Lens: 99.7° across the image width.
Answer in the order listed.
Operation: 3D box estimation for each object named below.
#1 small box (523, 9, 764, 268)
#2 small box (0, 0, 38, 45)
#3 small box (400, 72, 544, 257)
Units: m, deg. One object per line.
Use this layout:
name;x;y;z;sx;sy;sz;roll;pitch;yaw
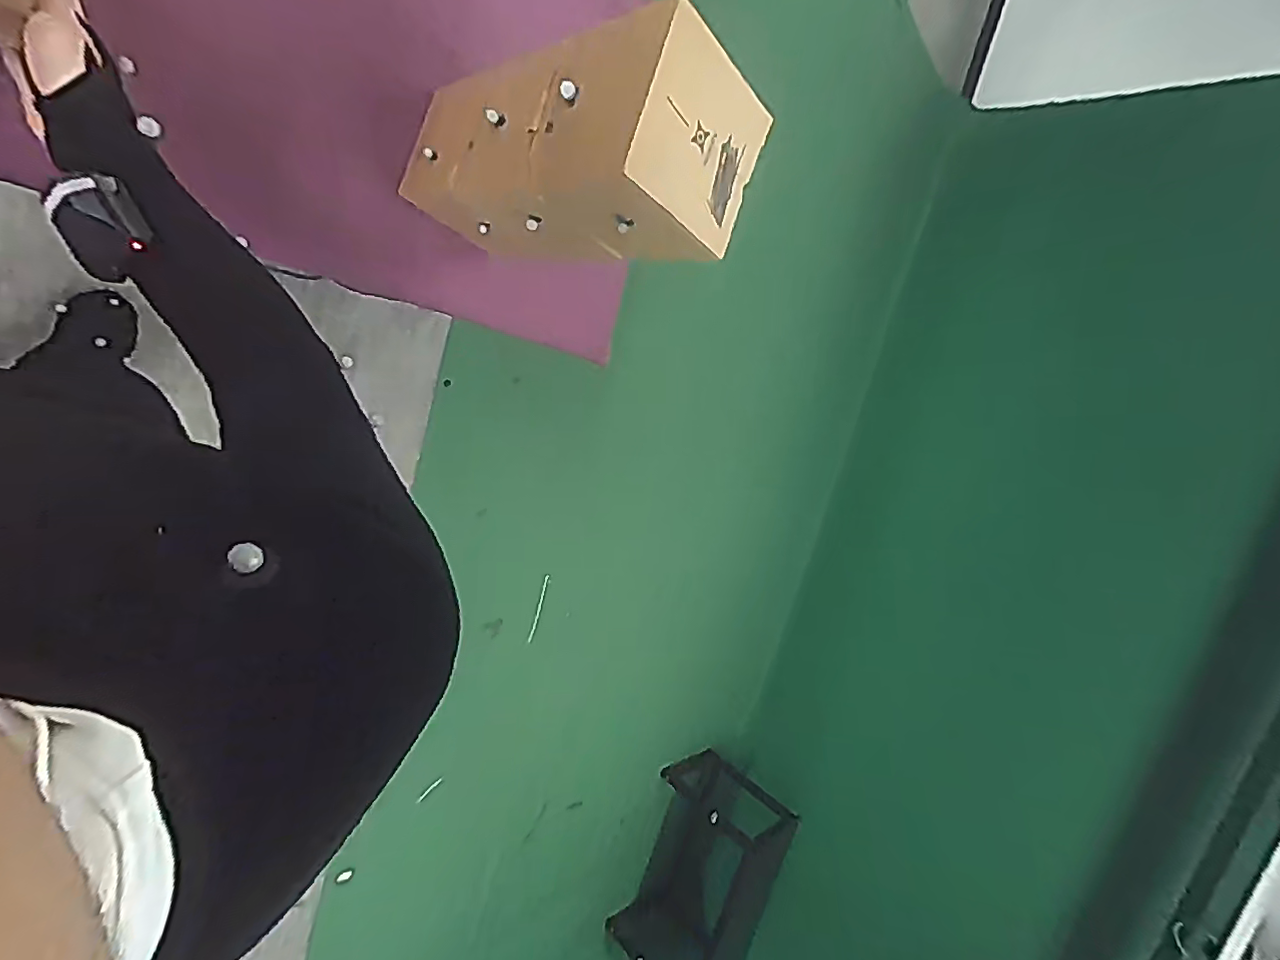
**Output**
small box;0.004;-0.360;0.605;0.179;0.176;0.168;15;96;-49
small box;-0.592;-0.472;0.410;0.179;0.176;0.168;-2;109;-47
small box;-0.228;-0.458;0.815;0.179;0.176;0.168;21;92;-50
